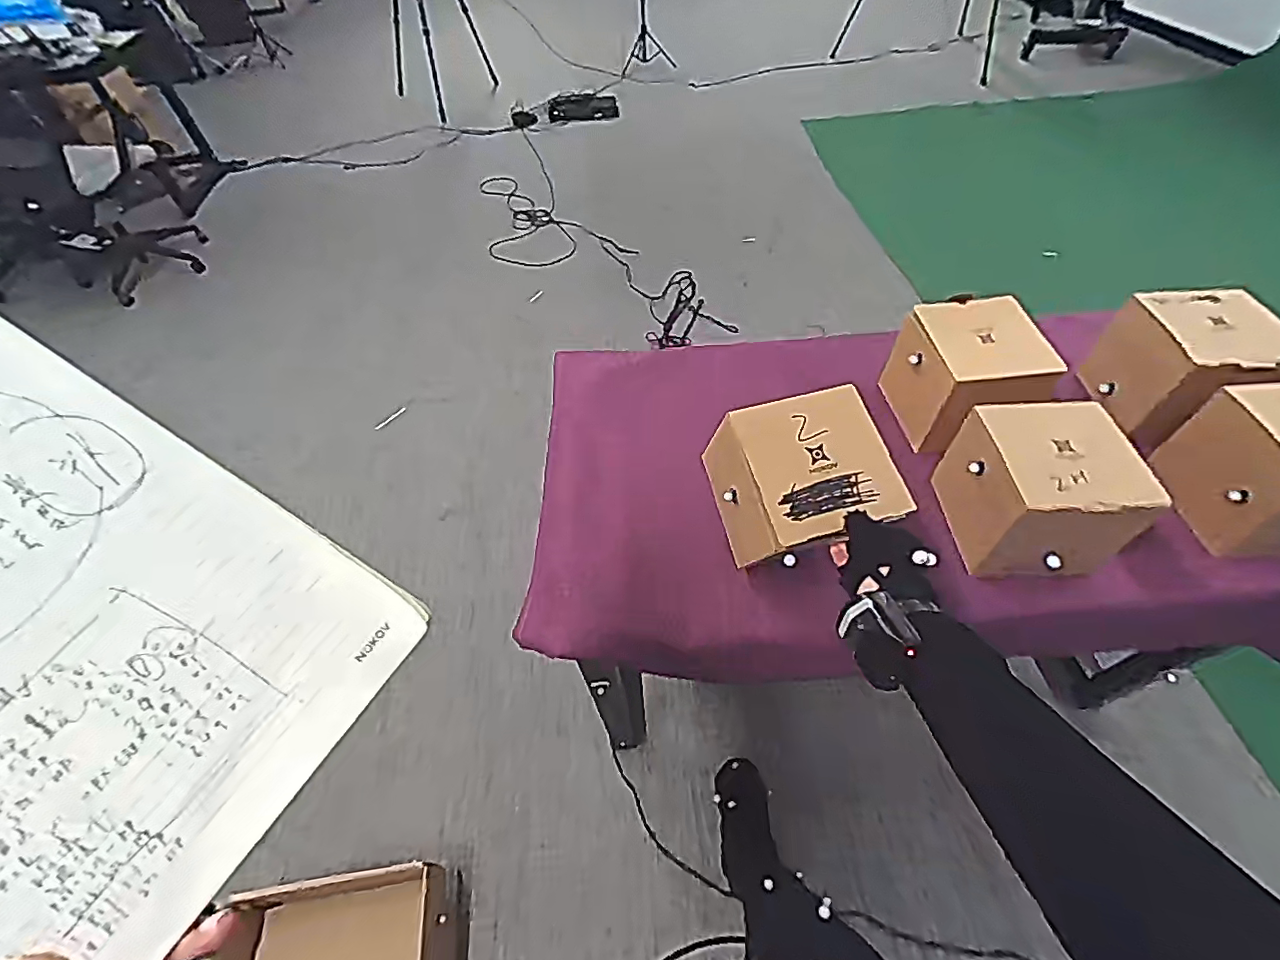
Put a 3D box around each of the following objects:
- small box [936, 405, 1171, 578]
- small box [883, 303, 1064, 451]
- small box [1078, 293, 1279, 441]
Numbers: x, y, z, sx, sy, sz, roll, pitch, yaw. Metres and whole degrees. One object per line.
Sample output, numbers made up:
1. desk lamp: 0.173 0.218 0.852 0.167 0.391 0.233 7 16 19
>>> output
1. small box: 0.539 0.017 0.743 0.168 0.176 0.179 -2 52 3
2. small box: 0.527 -0.161 0.885 0.168 0.176 0.179 -6 52 0
3. small box: 0.866 -0.175 0.868 0.168 0.176 0.179 0 53 4
